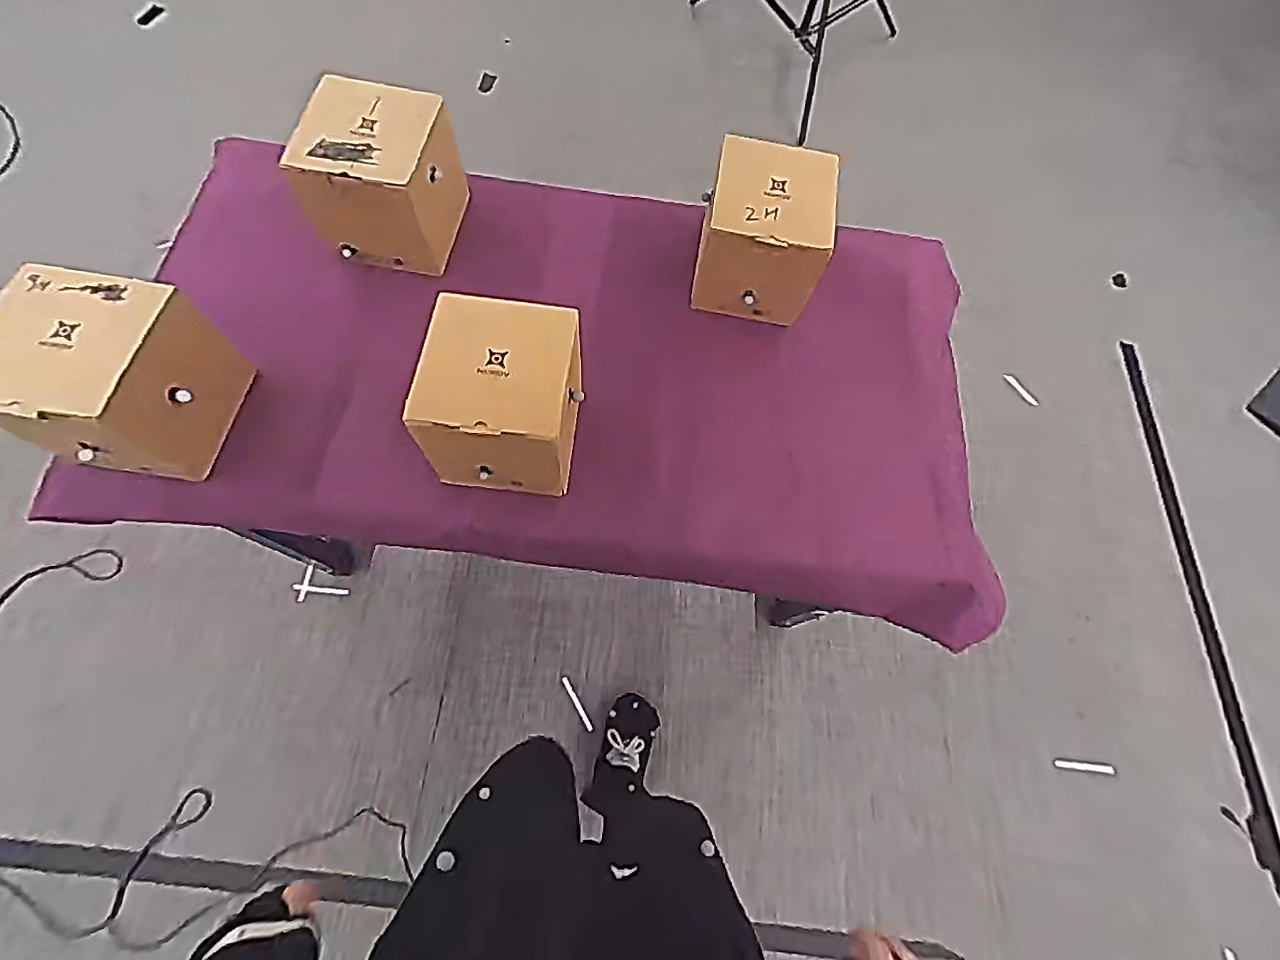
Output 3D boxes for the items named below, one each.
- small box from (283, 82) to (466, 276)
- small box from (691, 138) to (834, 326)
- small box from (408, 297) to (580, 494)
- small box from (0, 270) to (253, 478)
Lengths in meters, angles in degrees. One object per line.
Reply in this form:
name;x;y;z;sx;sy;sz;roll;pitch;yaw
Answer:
small box;-0.370;-0.431;0.794;0.168;0.176;0.179;9;69;-2
small box;0.176;-0.364;0.813;0.168;0.176;0.179;10;71;0
small box;-0.168;-0.099;0.685;0.168;0.176;0.179;6;68;-3
small box;-0.615;-0.116;0.650;0.168;0.176;0.179;8;68;-2
